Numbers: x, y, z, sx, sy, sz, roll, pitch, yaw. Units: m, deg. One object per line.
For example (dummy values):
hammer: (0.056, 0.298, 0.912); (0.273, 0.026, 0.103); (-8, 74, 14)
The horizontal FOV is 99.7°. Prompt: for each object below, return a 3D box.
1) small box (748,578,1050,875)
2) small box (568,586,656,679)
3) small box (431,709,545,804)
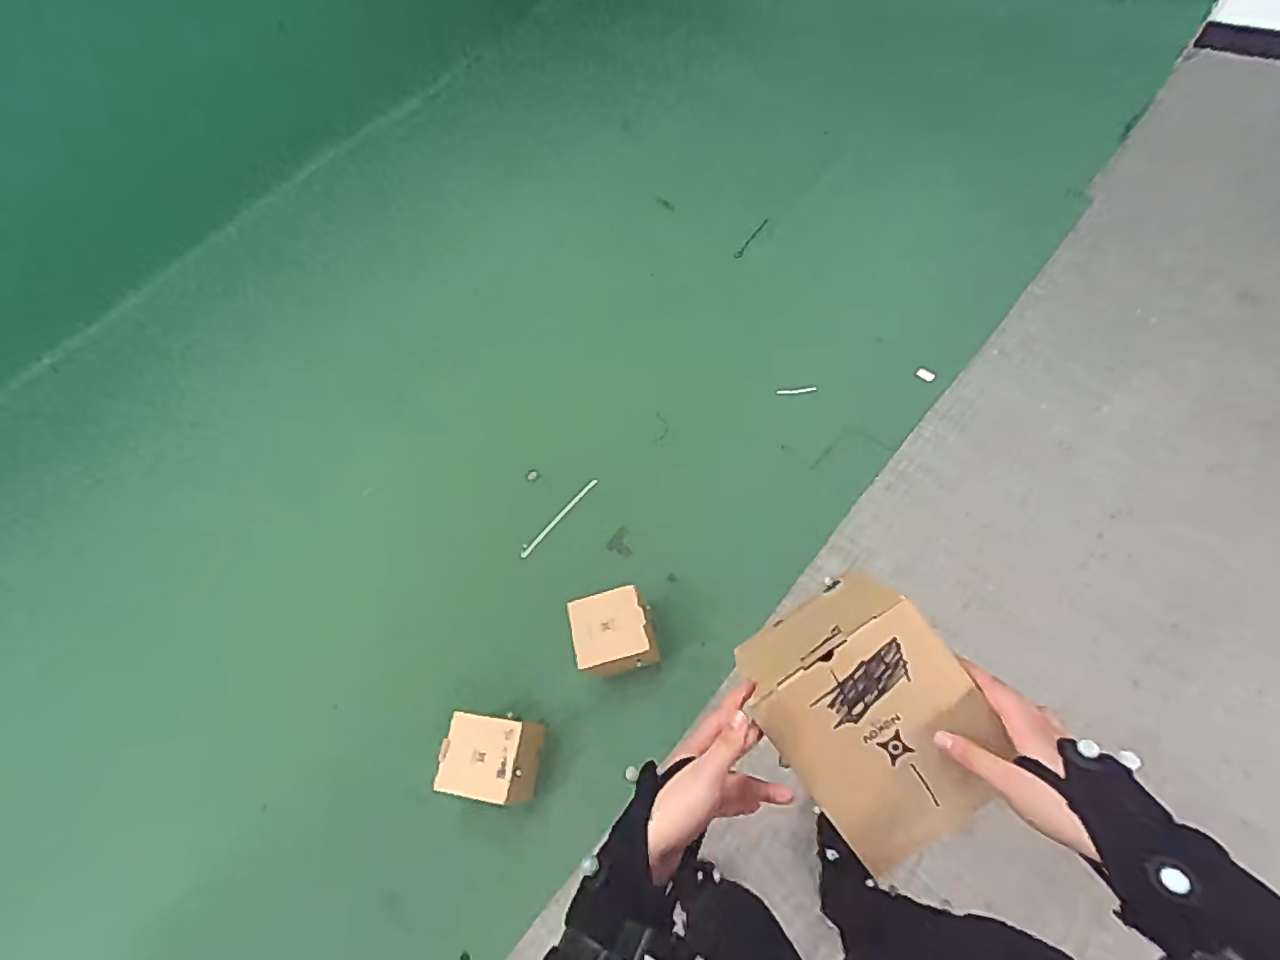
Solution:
small box: (0.222, 0.211, 0.523); (0.168, 0.176, 0.179); (-36, 87, 4)
small box: (-0.063, 0.384, 1.347); (0.179, 0.176, 0.168); (-17, 60, 3)
small box: (-0.348, 0.647, 1.270); (0.179, 0.176, 0.168); (4, 64, 14)
